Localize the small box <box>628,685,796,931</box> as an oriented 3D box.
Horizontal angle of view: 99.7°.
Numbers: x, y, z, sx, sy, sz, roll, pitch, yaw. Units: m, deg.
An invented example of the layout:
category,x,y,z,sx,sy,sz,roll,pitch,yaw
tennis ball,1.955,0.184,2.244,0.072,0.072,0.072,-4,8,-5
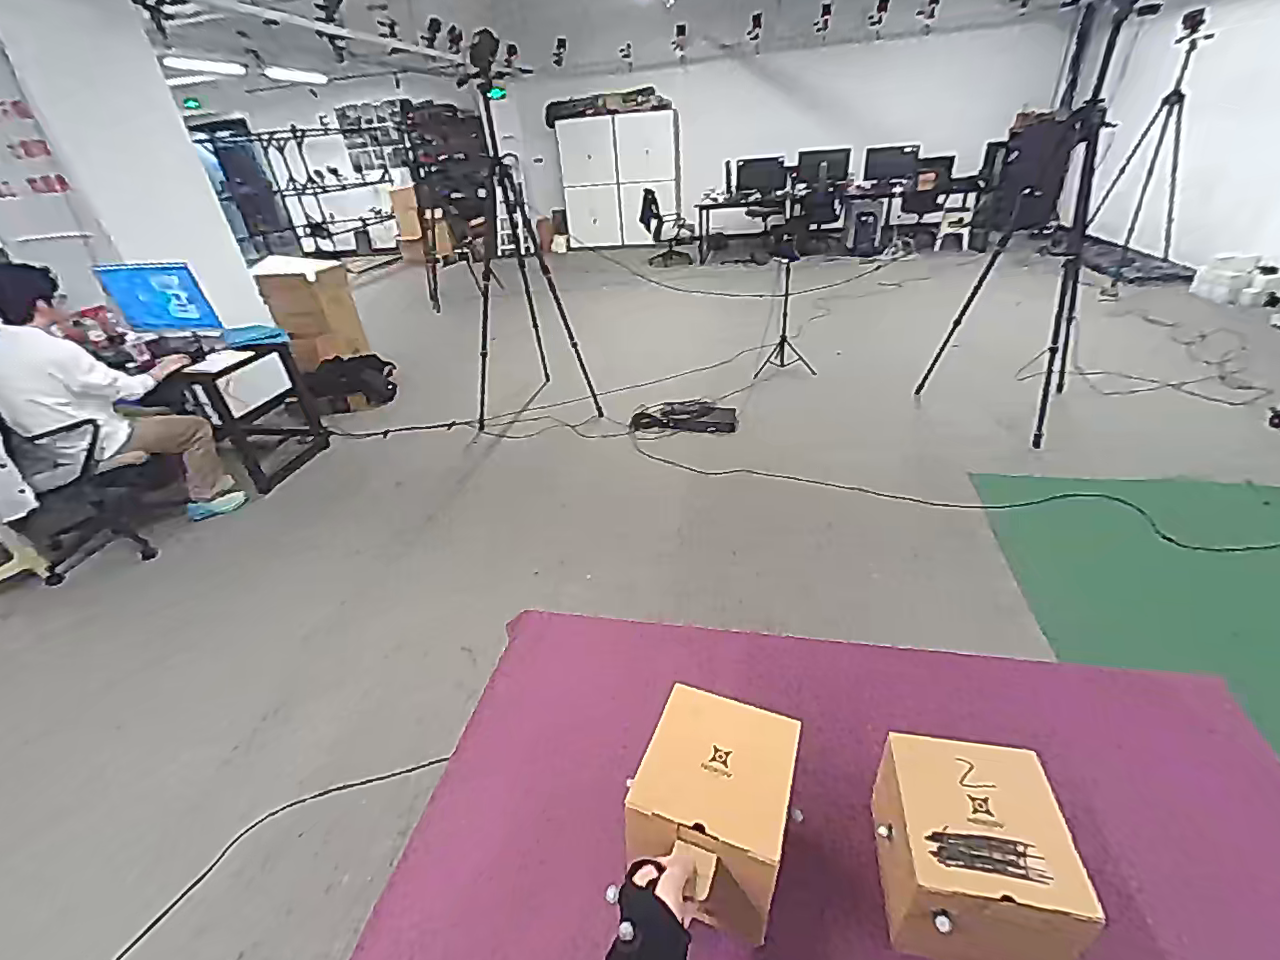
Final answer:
category,x,y,z,sx,sy,sz,roll,pitch,yaw
small box,0.090,0.401,0.676,0.168,0.176,0.179,11,31,19
